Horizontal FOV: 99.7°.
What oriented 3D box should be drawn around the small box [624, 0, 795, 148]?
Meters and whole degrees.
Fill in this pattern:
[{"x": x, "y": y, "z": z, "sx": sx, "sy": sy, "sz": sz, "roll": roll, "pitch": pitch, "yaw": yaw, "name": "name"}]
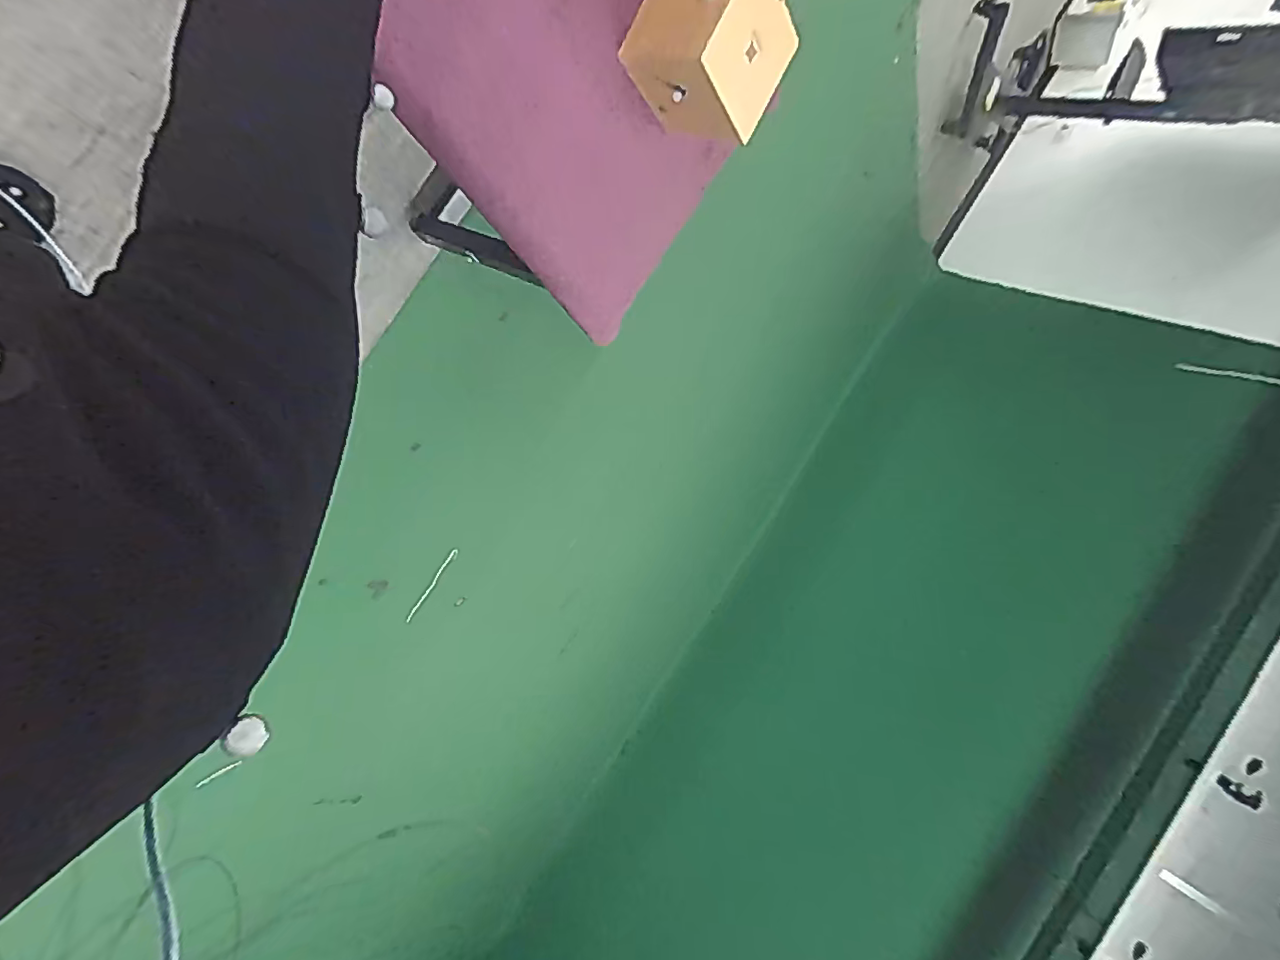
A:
[{"x": 0.100, "y": -0.646, "z": 0.821, "sx": 0.168, "sy": 0.176, "sz": 0.179, "roll": 21, "pitch": 98, "yaw": -56, "name": "small box"}]
